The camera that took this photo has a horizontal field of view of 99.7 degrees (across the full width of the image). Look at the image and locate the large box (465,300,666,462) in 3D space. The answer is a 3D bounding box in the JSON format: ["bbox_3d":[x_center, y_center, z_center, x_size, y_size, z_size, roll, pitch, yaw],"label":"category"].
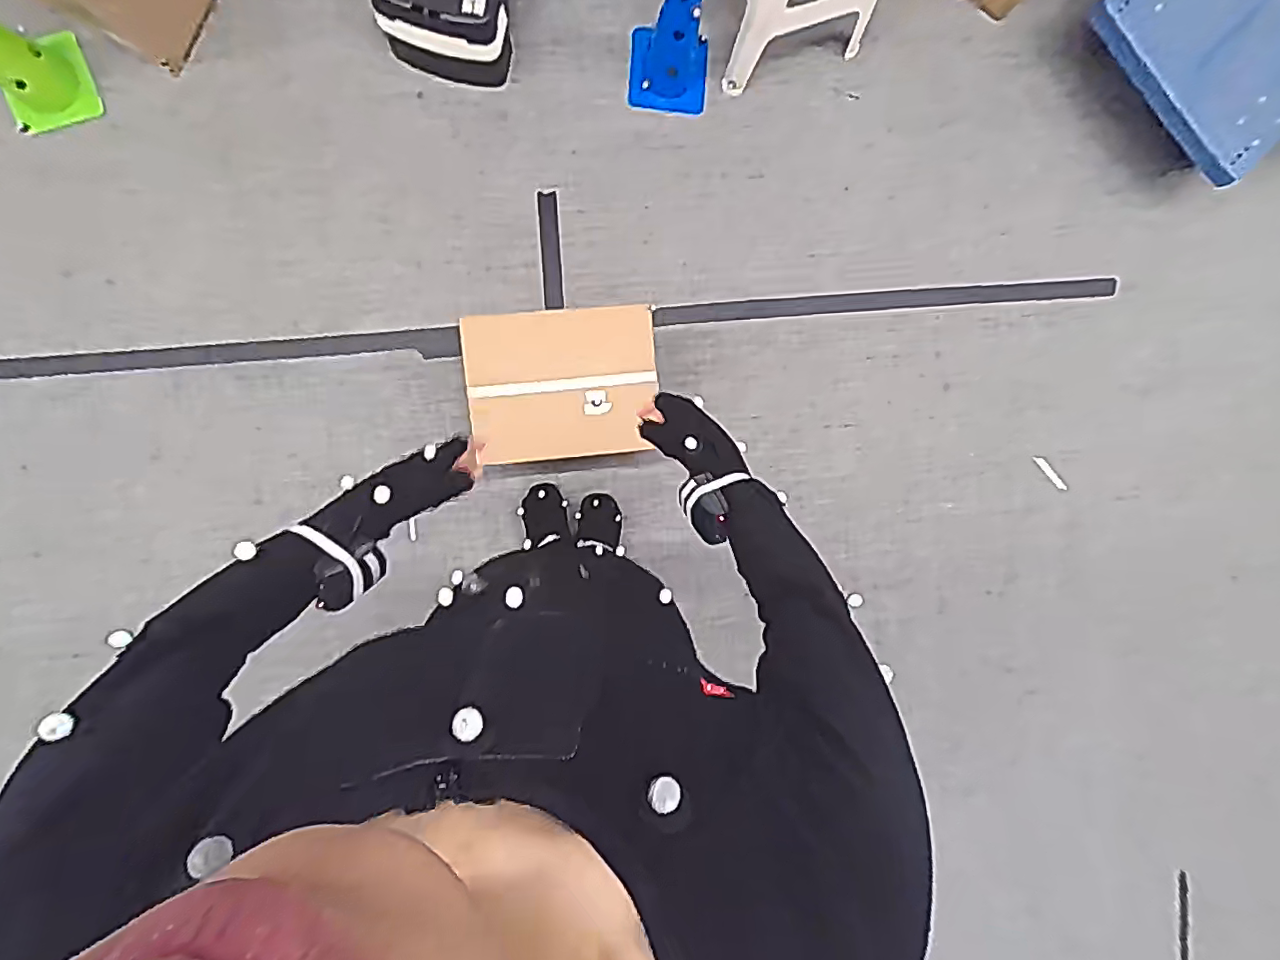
[{"bbox_3d":[-0.170,-0.223,1.303,0.408,0.320,0.320,-6,95,-5],"label":"large box"}]
